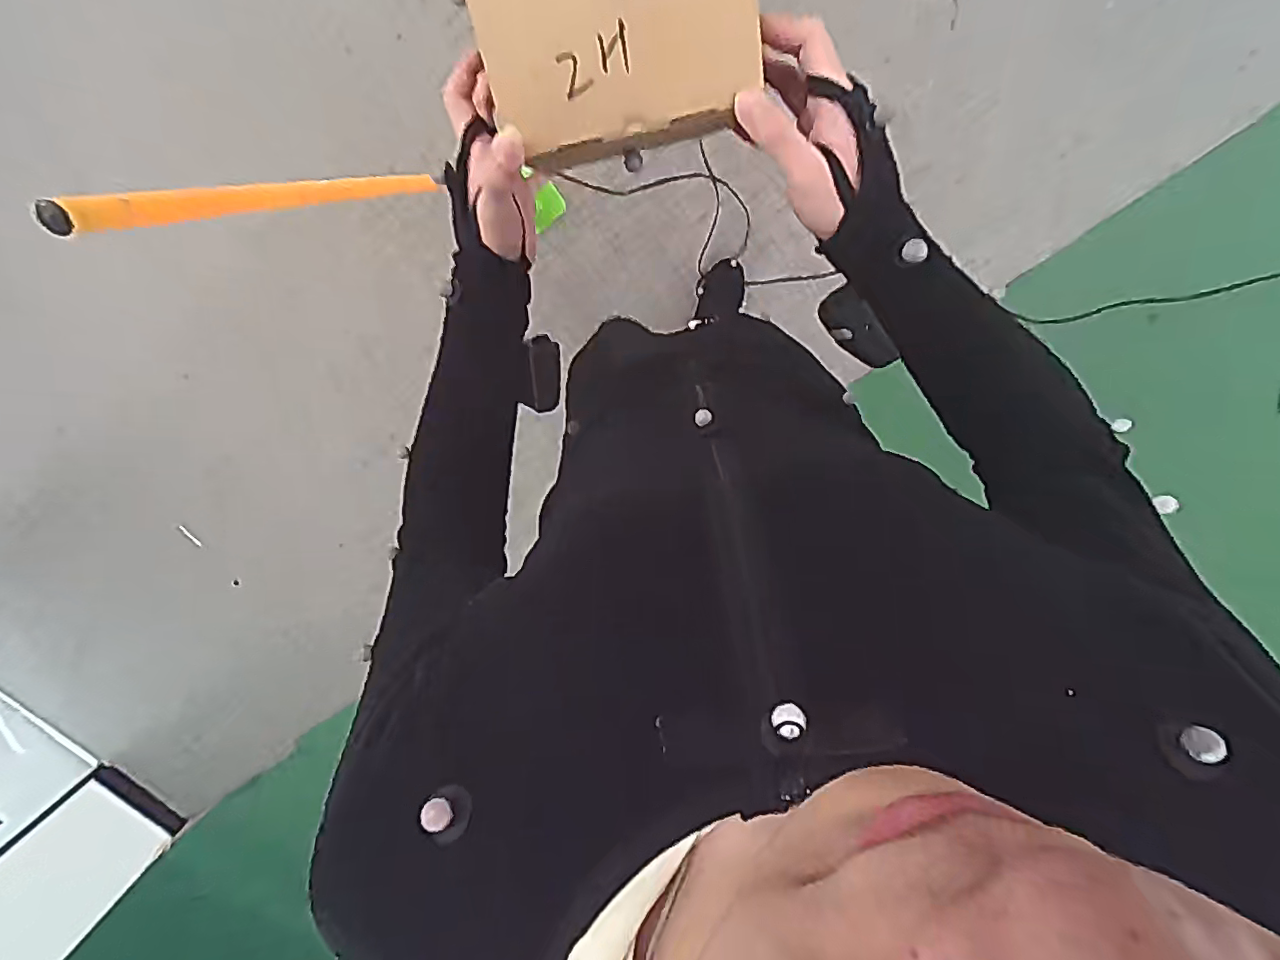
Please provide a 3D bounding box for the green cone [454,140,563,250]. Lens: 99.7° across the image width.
[{"bbox_3d":[-0.340,-0.673,1.245,0.202,0.368,0.200,-33,105,16],"label":"green cone"}]
